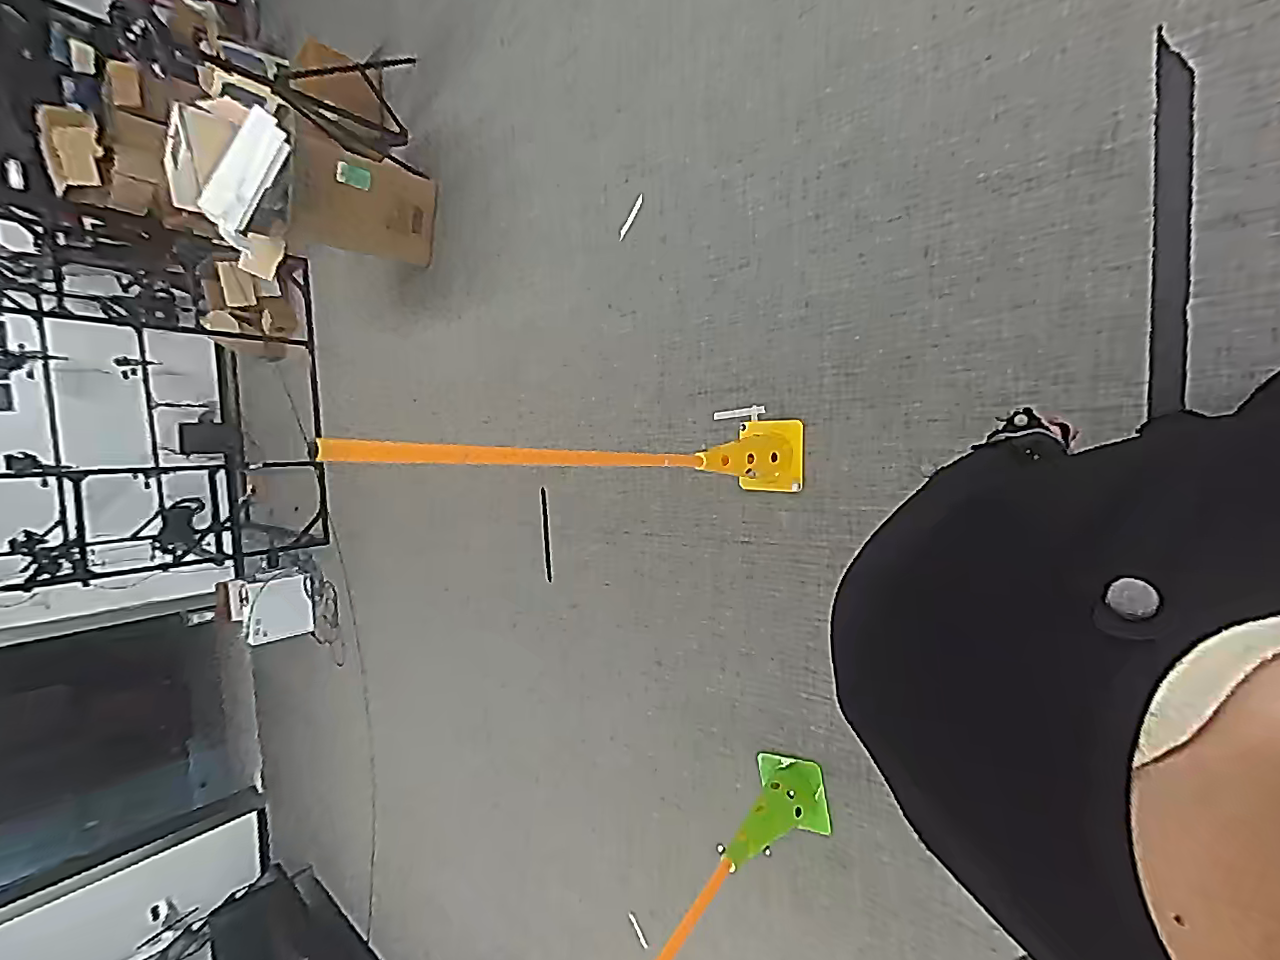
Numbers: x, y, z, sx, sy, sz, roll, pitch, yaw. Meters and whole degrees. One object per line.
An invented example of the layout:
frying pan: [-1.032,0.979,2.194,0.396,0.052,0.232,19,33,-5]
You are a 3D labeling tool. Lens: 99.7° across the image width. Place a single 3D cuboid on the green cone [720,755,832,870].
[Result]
green cone: [0.330,0.910,1.422,0.200,0.368,0.202,-14,83,41]
